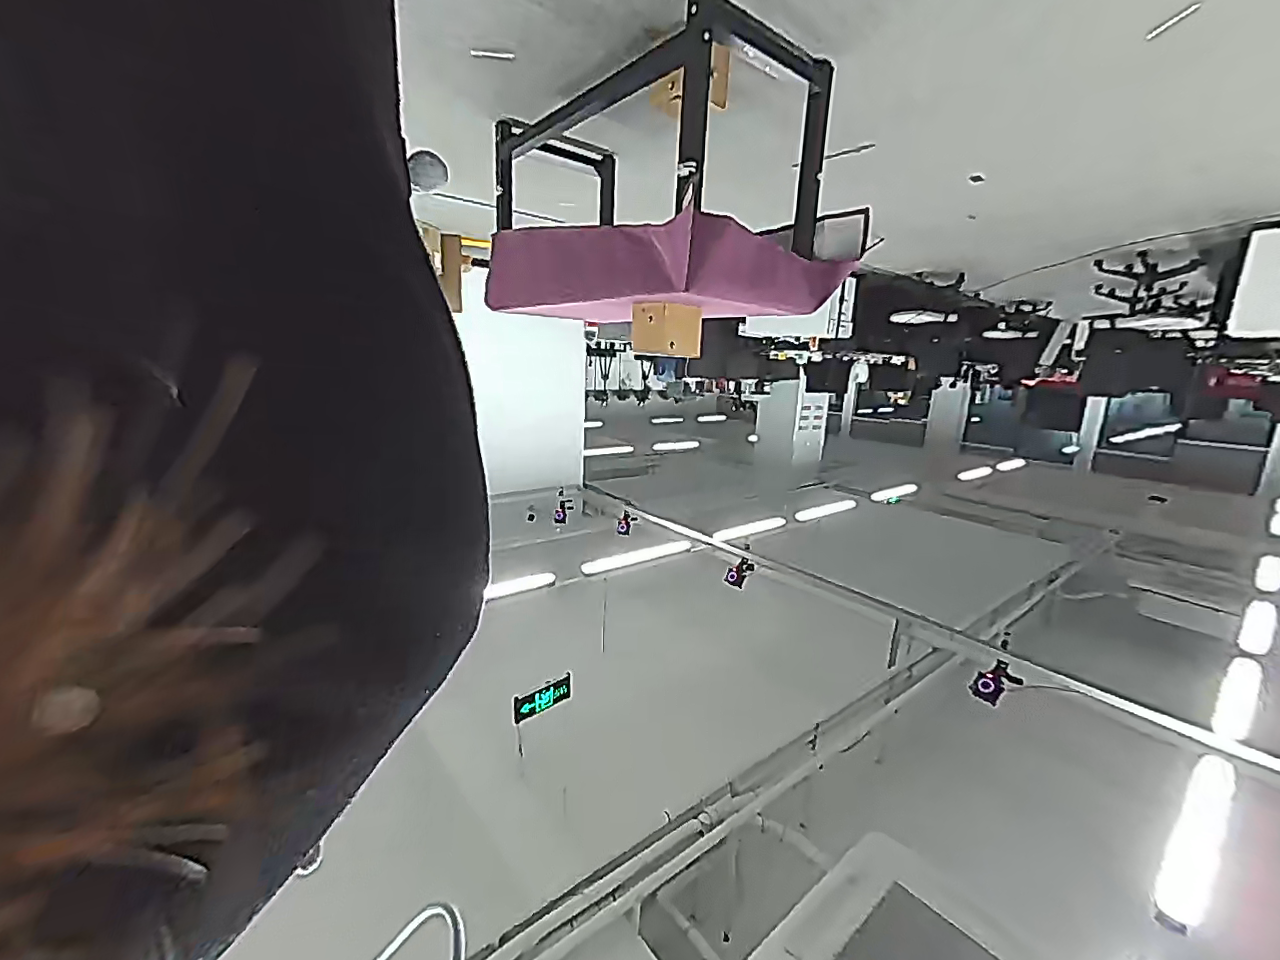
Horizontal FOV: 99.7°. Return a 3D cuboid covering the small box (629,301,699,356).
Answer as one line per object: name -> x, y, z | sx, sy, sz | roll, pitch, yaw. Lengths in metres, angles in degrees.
small box -> 0.084, -0.511, 1.831 | 0.179, 0.176, 0.168 | -7, -164, -39
